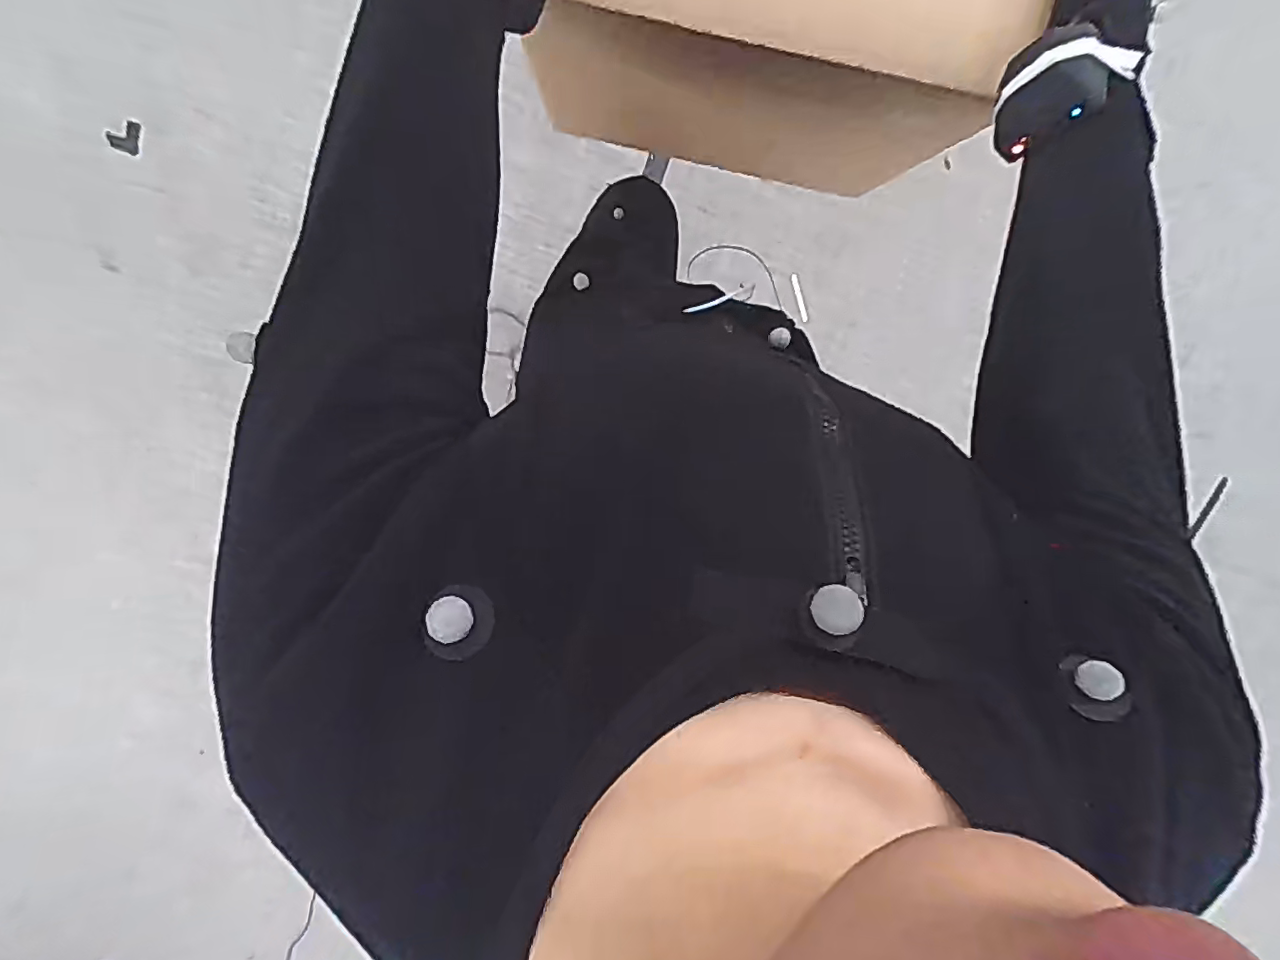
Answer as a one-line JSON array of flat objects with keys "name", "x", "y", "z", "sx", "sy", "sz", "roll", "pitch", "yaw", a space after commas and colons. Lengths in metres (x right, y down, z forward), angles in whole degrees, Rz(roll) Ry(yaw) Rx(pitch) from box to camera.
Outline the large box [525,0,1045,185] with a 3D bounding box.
[{"name": "large box", "x": 0.121, "y": -0.519, "z": 0.511, "sx": 0.408, "sy": 0.320, "sz": 0.320, "roll": 10, "pitch": 106, "yaw": -5}]
